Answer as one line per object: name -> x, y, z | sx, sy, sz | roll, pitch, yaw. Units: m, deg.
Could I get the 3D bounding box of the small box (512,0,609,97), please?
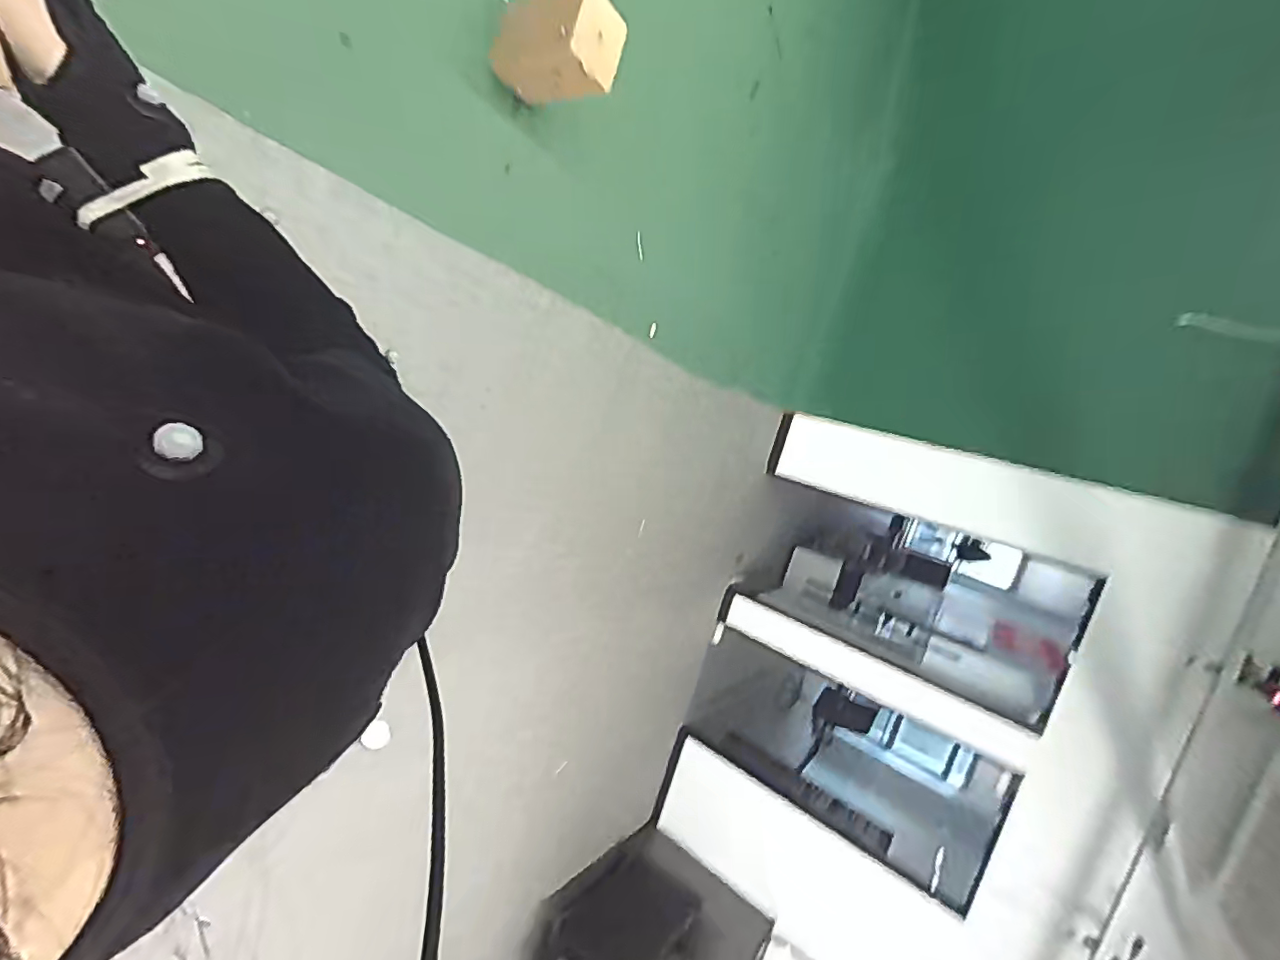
small box -> -0.212, -1.158, 1.430 | 0.168, 0.176, 0.179 | 9, 99, -58

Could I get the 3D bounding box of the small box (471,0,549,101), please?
small box -> -0.344, -1.204, 1.513 | 0.168, 0.176, 0.179 | 12, 97, -58
